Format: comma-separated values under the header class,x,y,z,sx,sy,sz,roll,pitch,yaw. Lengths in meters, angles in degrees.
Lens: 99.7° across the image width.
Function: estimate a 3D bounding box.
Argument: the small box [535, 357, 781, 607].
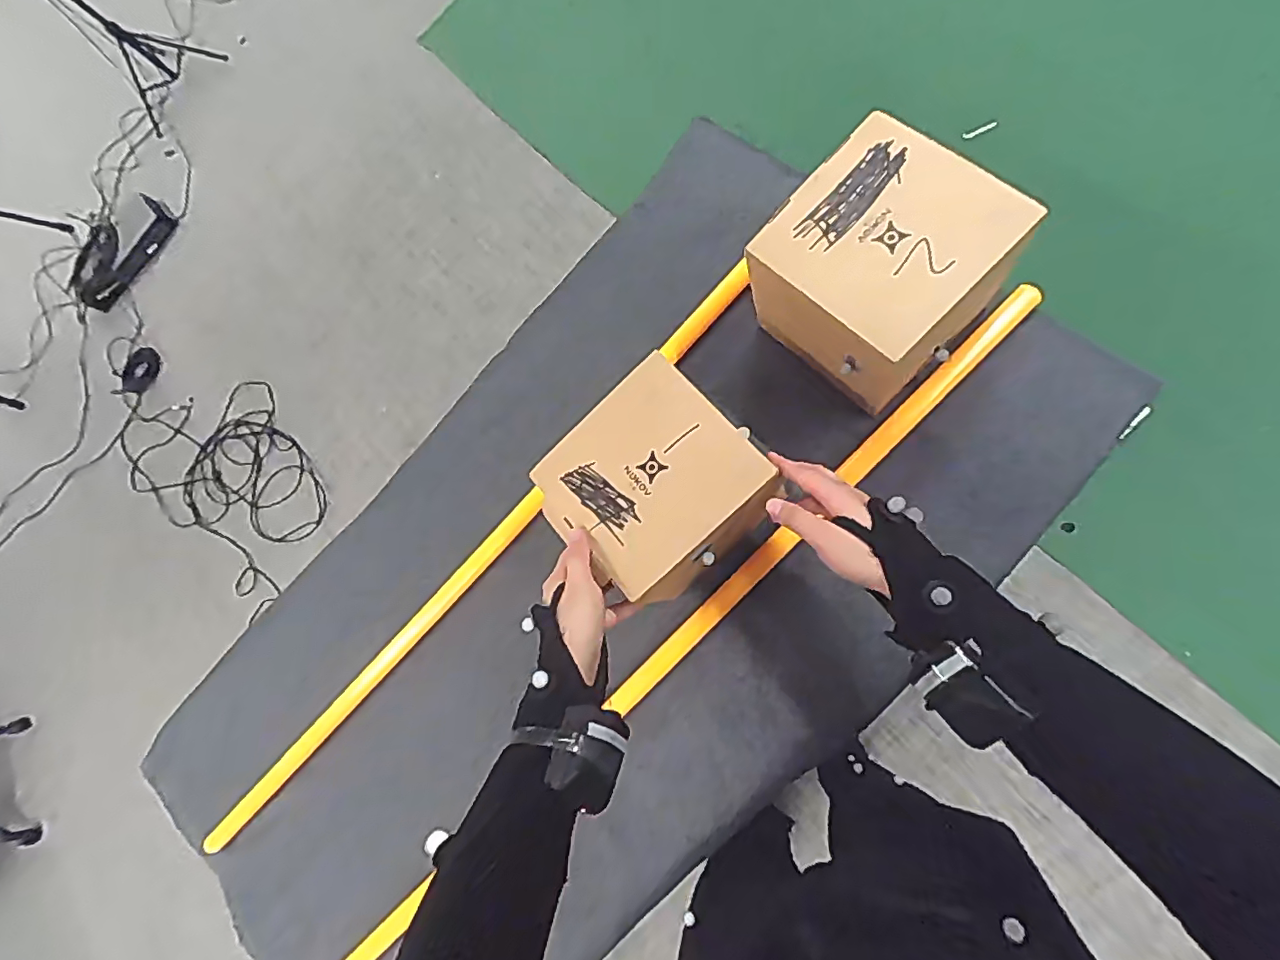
class,x,y,z,sx,sy,sz,roll,pitch,yaw
small box,0.031,0.012,0.564,0.179,0.176,0.168,-43,72,5
